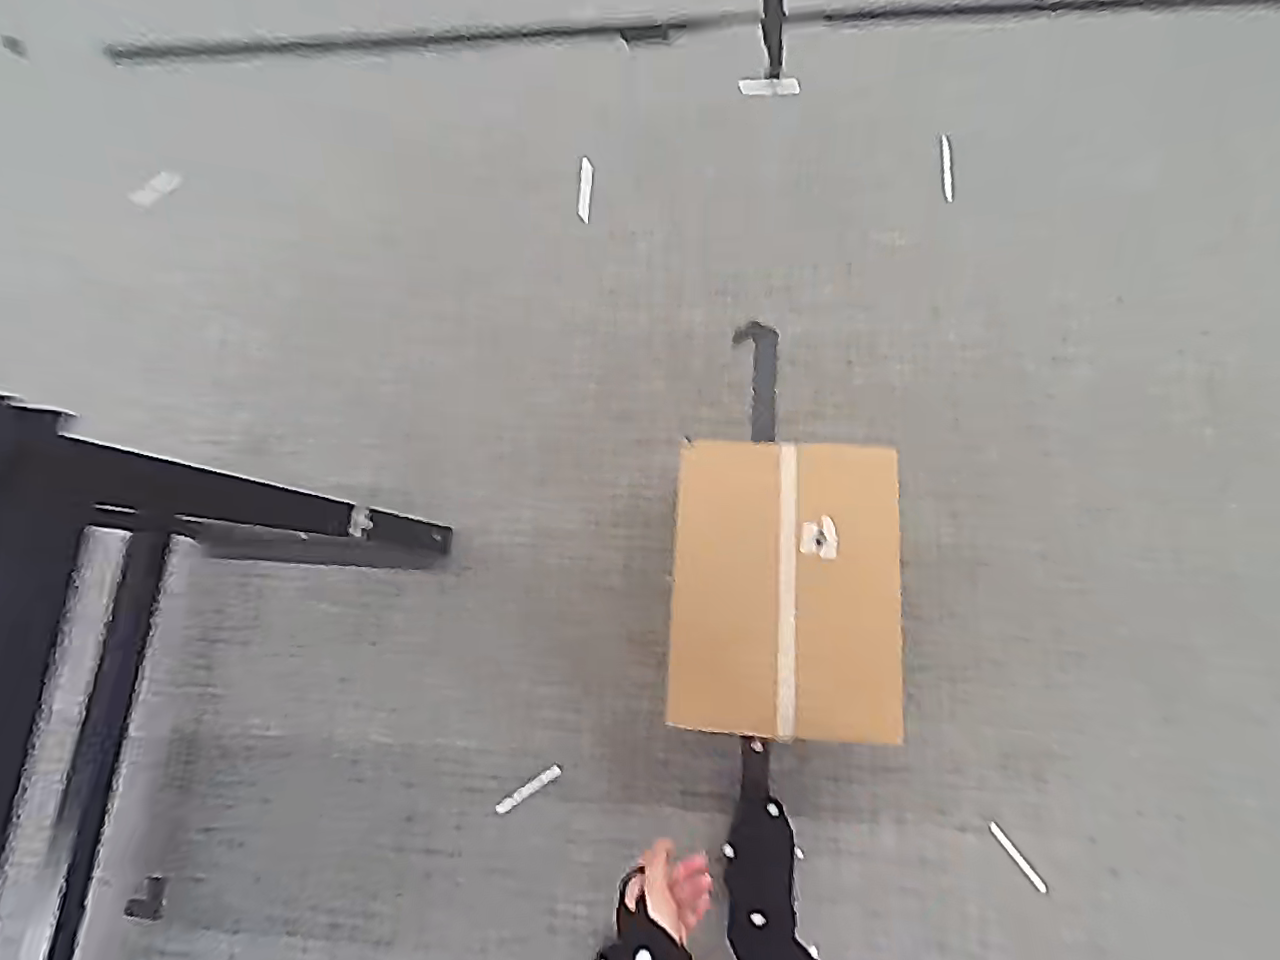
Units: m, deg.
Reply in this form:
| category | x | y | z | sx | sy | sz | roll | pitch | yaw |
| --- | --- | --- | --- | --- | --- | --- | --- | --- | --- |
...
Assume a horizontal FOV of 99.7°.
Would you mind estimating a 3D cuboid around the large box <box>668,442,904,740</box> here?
| category | x | y | z | sx | sy | sz | roll | pitch | yaw |
| --- | --- | --- | --- | --- | --- | --- | --- | --- | --- |
| large box | 0.215 | 0.175 | 0.900 | 0.320 | 0.320 | 0.408 | 3 | 78 | 5 |
